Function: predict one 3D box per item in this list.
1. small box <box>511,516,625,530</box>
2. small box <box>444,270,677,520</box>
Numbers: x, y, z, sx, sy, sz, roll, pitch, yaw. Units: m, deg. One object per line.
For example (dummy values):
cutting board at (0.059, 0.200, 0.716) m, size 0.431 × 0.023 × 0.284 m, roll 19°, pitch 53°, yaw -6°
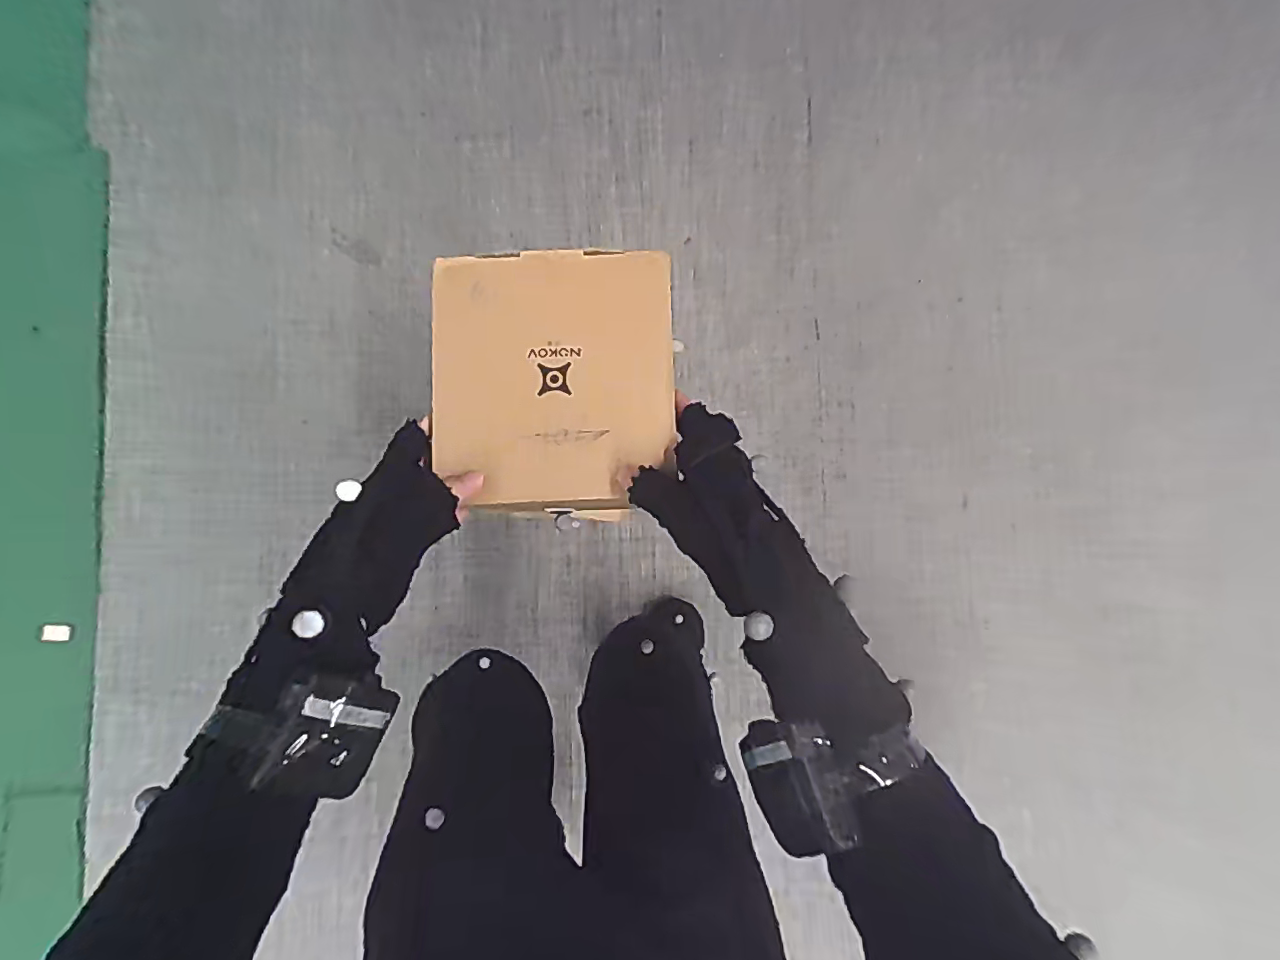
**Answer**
small box at (-0.109, -0.006, 0.920) m, size 0.179 × 0.176 × 0.168 m, roll 3°, pitch 86°, yaw 1°
small box at (-0.060, -0.058, 0.467) m, size 0.168 × 0.176 × 0.179 m, roll -3°, pitch 85°, yaw -1°
